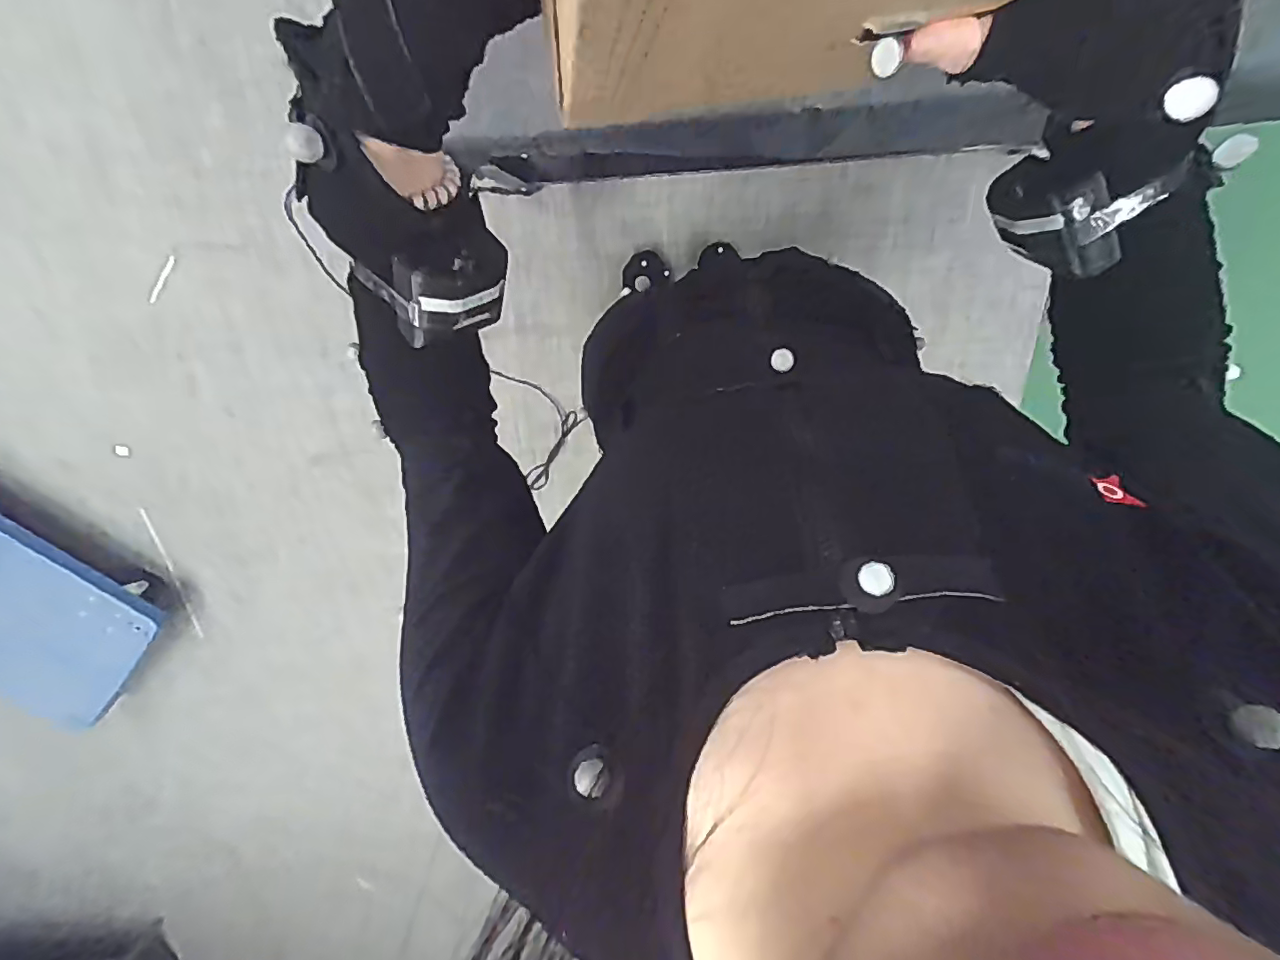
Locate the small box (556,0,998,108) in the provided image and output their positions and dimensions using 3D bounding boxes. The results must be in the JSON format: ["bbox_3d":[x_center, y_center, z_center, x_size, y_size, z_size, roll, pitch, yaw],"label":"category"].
[{"bbox_3d":[0.043,-0.247,0.181,0.176,0.179,0.168,-10,113,-3],"label":"small box"}]
